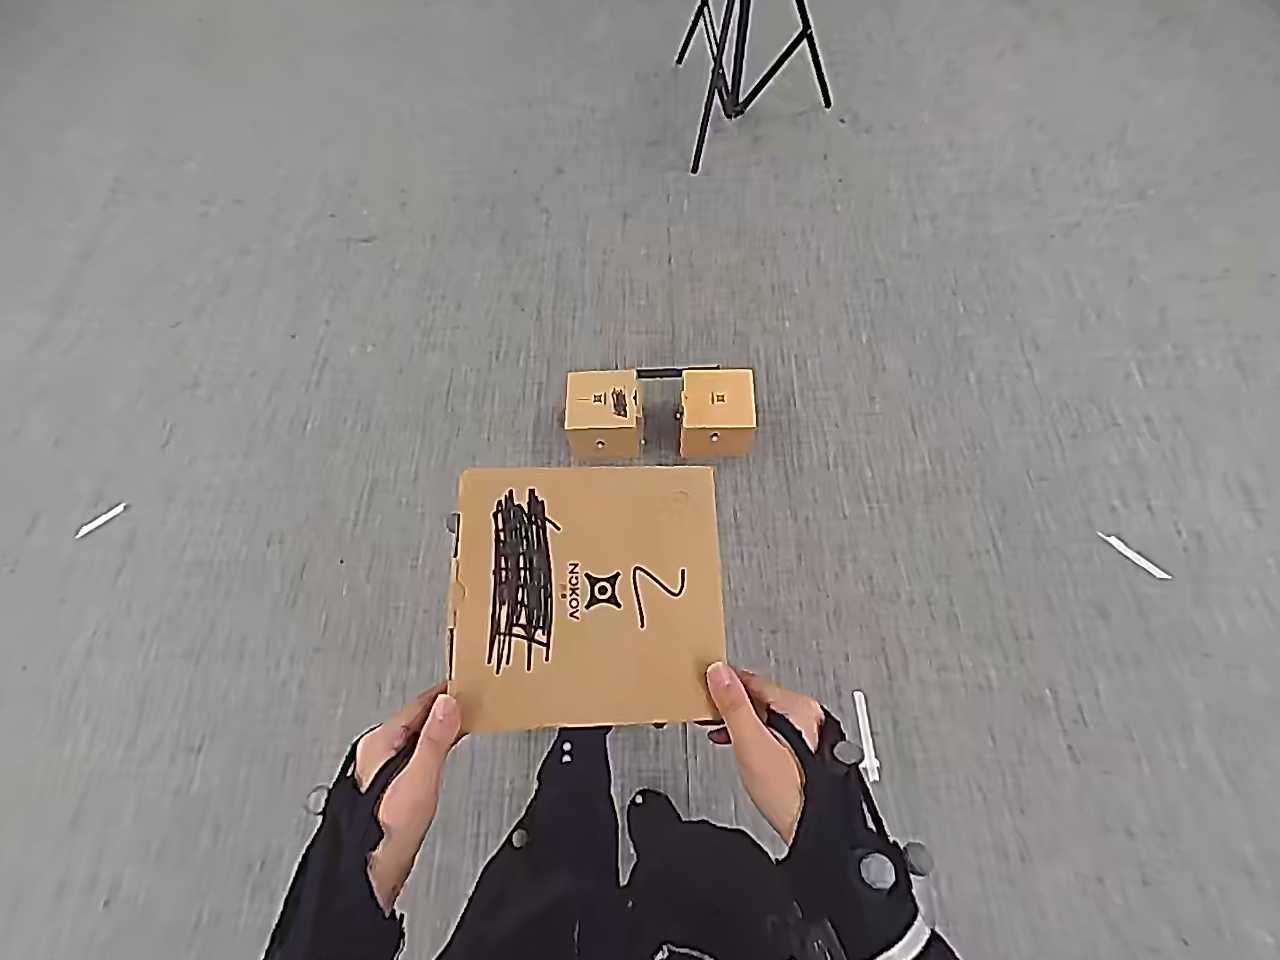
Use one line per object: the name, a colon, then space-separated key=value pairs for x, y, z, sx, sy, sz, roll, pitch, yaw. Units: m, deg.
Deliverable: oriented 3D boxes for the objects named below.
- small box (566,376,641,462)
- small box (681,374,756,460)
small box: x=-0.088 y=-0.154 z=1.407 sx=0.179 sy=0.176 sz=0.168 roll=-1 pitch=67 yaw=4
small box: x=0.196 y=-0.158 z=1.396 sx=0.179 sy=0.176 sz=0.168 roll=0 pitch=67 yaw=3
